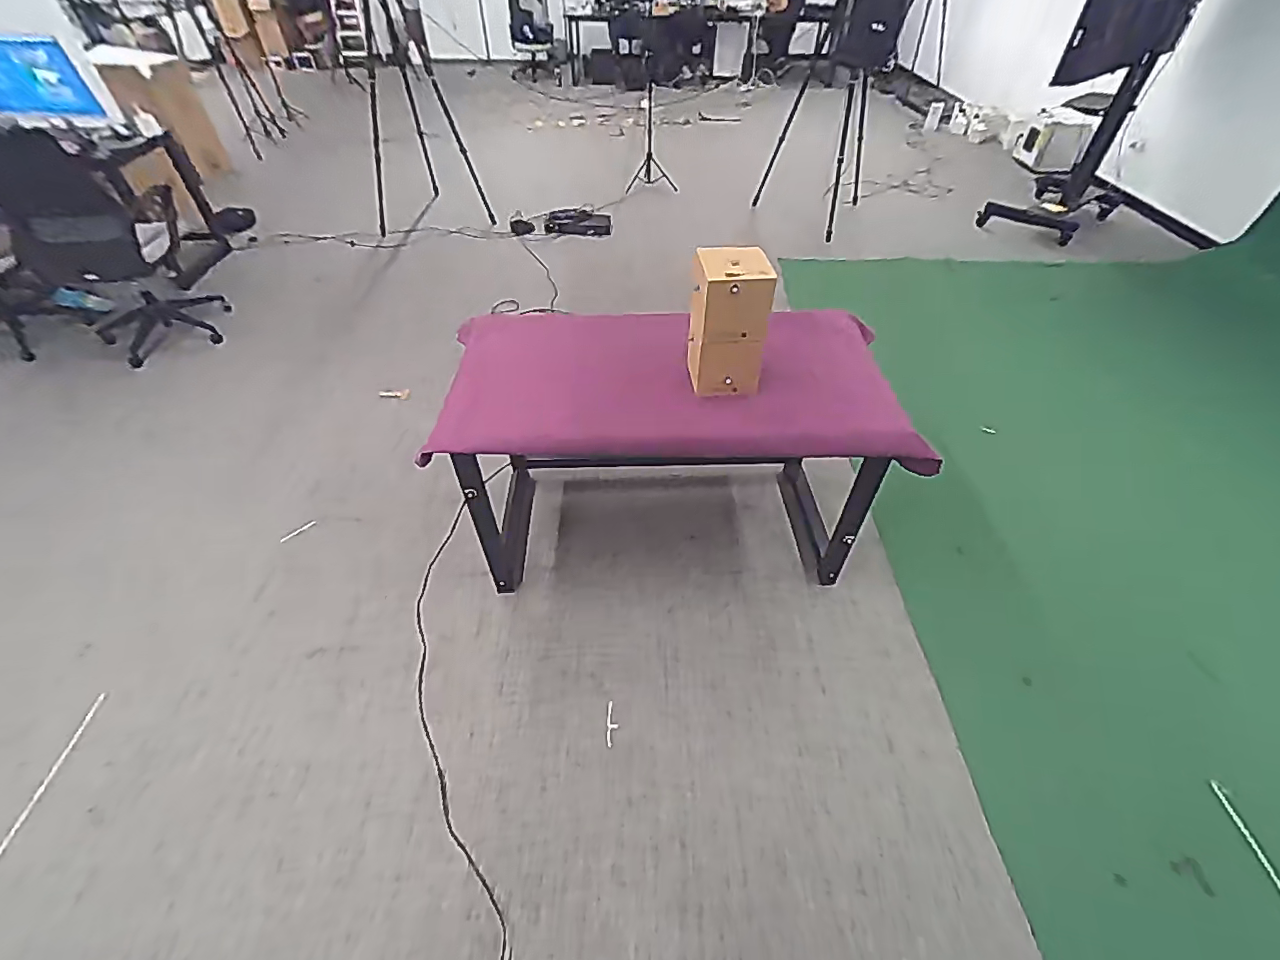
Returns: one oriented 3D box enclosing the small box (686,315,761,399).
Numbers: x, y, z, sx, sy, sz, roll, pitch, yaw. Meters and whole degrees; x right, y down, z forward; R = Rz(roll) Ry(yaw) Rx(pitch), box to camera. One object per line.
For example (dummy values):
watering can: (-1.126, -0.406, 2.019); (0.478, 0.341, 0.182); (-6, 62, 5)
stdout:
small box: (0.218, -0.338, 1.465); (0.168, 0.176, 0.179); (-3, 46, -3)

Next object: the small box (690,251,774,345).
small box: (0.220, -0.453, 1.348); (0.168, 0.176, 0.179); (-4, 45, -4)
